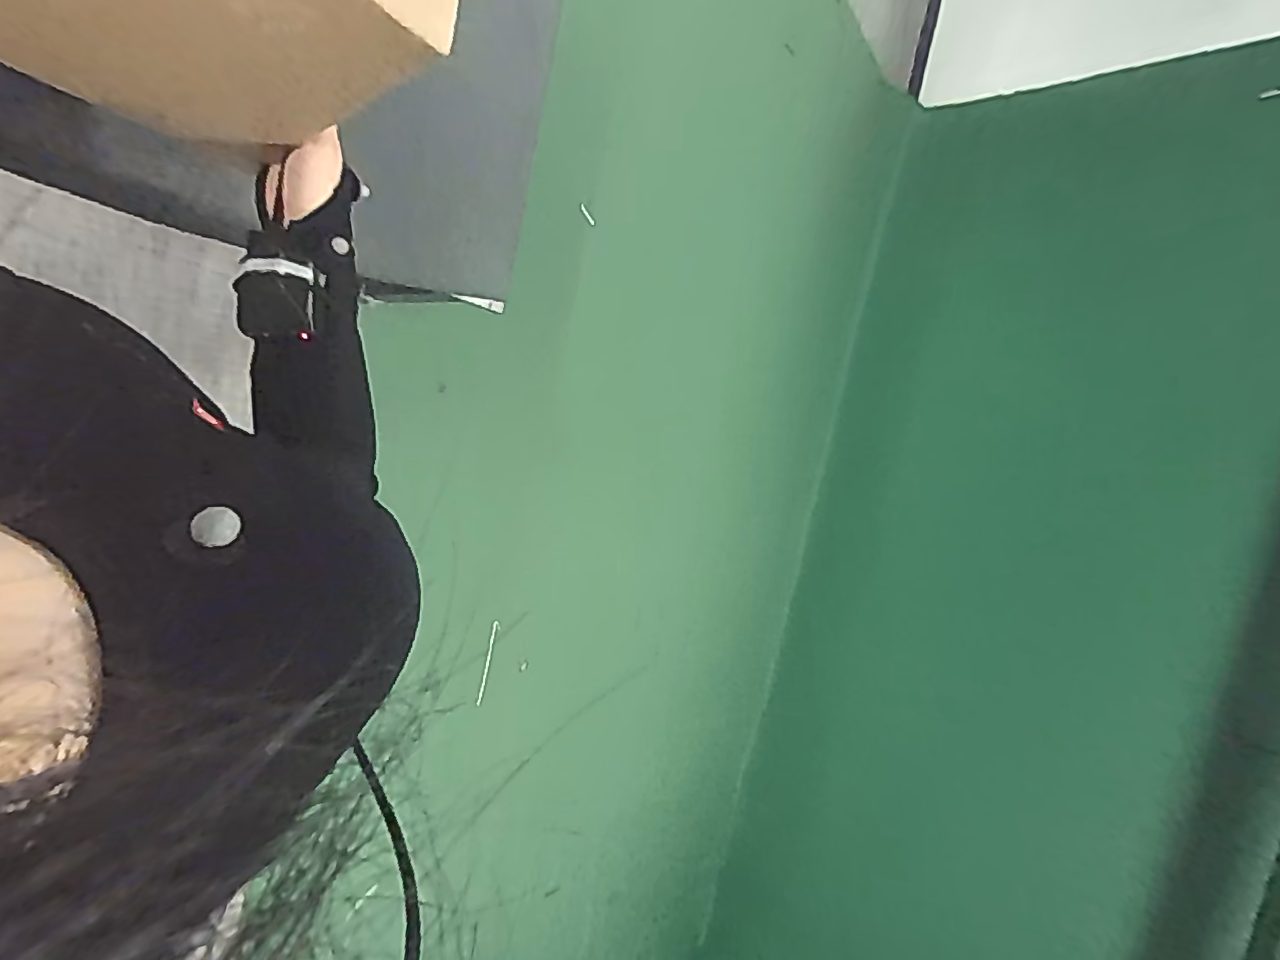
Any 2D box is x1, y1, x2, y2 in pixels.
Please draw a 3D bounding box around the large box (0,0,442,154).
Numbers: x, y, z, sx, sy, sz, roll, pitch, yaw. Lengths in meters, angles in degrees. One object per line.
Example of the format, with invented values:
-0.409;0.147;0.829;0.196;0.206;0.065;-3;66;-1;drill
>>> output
-0.340;-0.439;0.251;0.408;0.320;0.320;6;93;-54;large box
